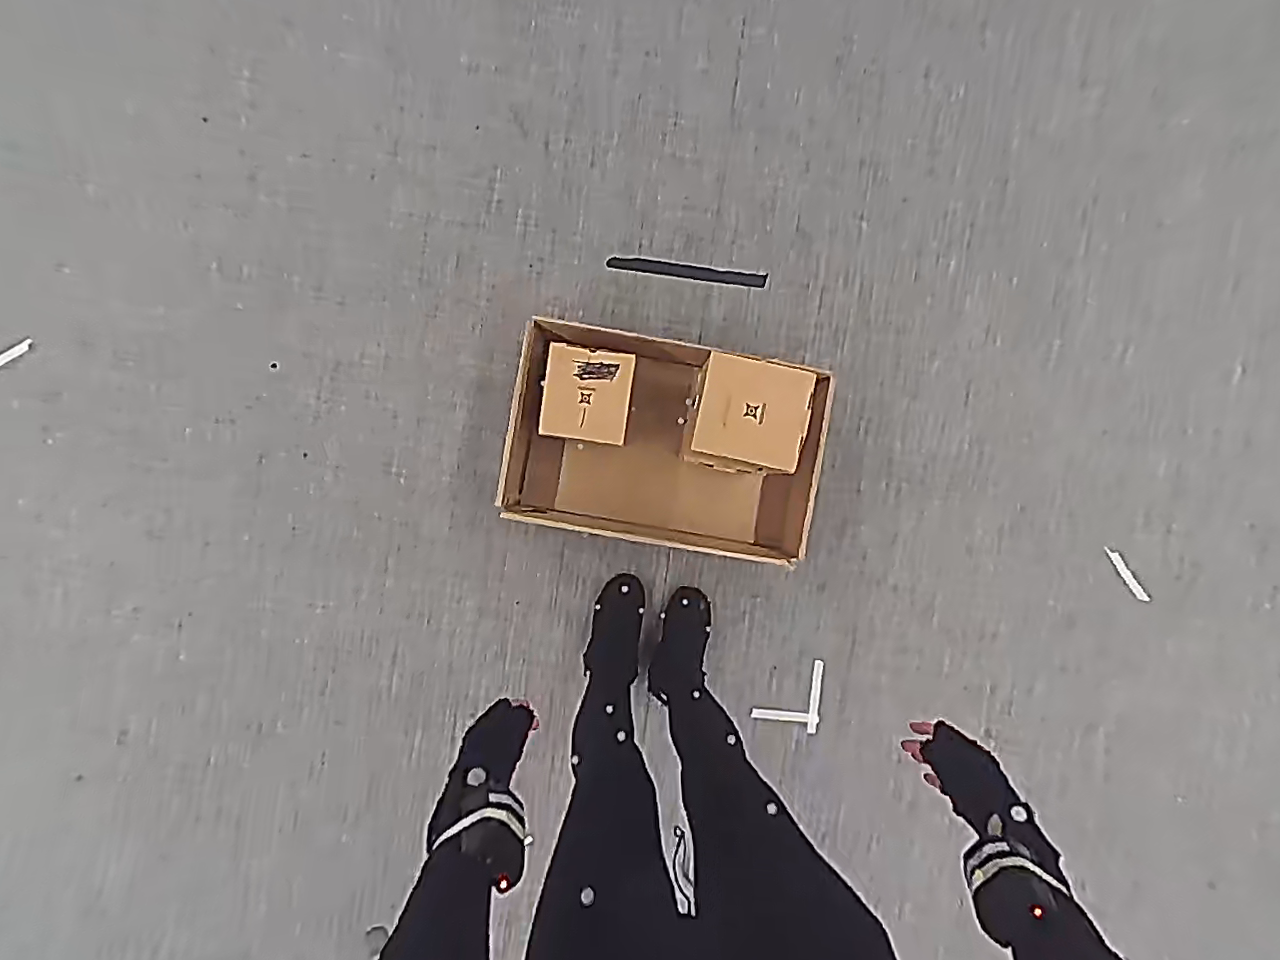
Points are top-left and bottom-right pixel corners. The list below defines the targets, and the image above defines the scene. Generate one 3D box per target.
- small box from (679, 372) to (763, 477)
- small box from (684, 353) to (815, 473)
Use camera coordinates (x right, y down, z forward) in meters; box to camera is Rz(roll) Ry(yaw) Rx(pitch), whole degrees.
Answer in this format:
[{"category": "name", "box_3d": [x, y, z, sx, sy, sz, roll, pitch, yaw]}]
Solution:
[{"category": "small box", "box_3d": [0.177, -0.110, 1.112, 0.168, 0.176, 0.179, 11, 93, 2]}, {"category": "small box", "box_3d": [0.182, -0.109, 0.947, 0.179, 0.176, 0.168, 12, 90, 1]}]
